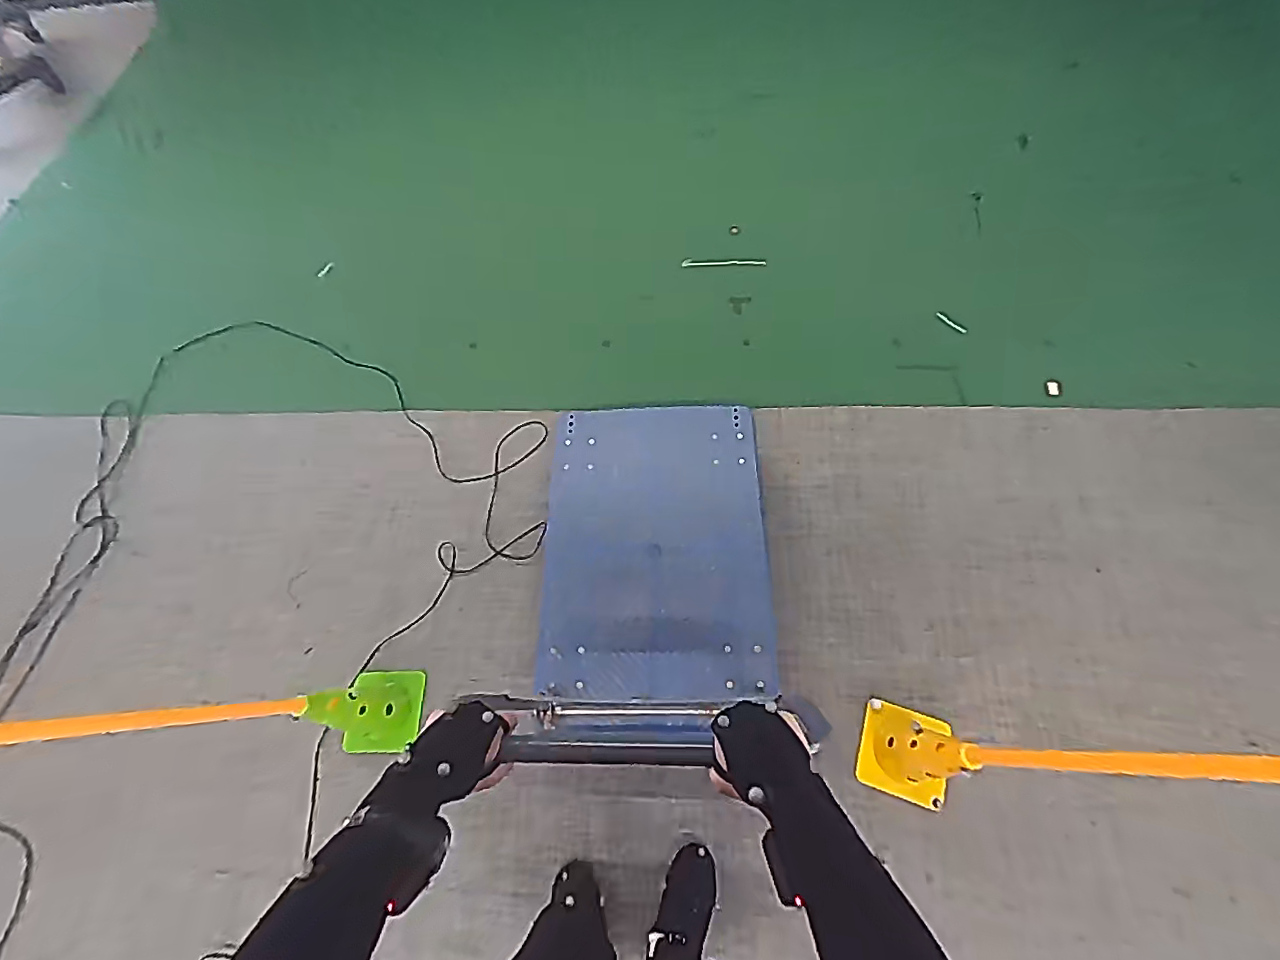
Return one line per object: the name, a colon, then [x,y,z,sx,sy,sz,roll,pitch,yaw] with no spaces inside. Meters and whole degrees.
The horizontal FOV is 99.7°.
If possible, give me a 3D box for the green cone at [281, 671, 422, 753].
green cone: [-0.704,0.544,1.287,0.202,0.368,0.200,-4,64,6]
